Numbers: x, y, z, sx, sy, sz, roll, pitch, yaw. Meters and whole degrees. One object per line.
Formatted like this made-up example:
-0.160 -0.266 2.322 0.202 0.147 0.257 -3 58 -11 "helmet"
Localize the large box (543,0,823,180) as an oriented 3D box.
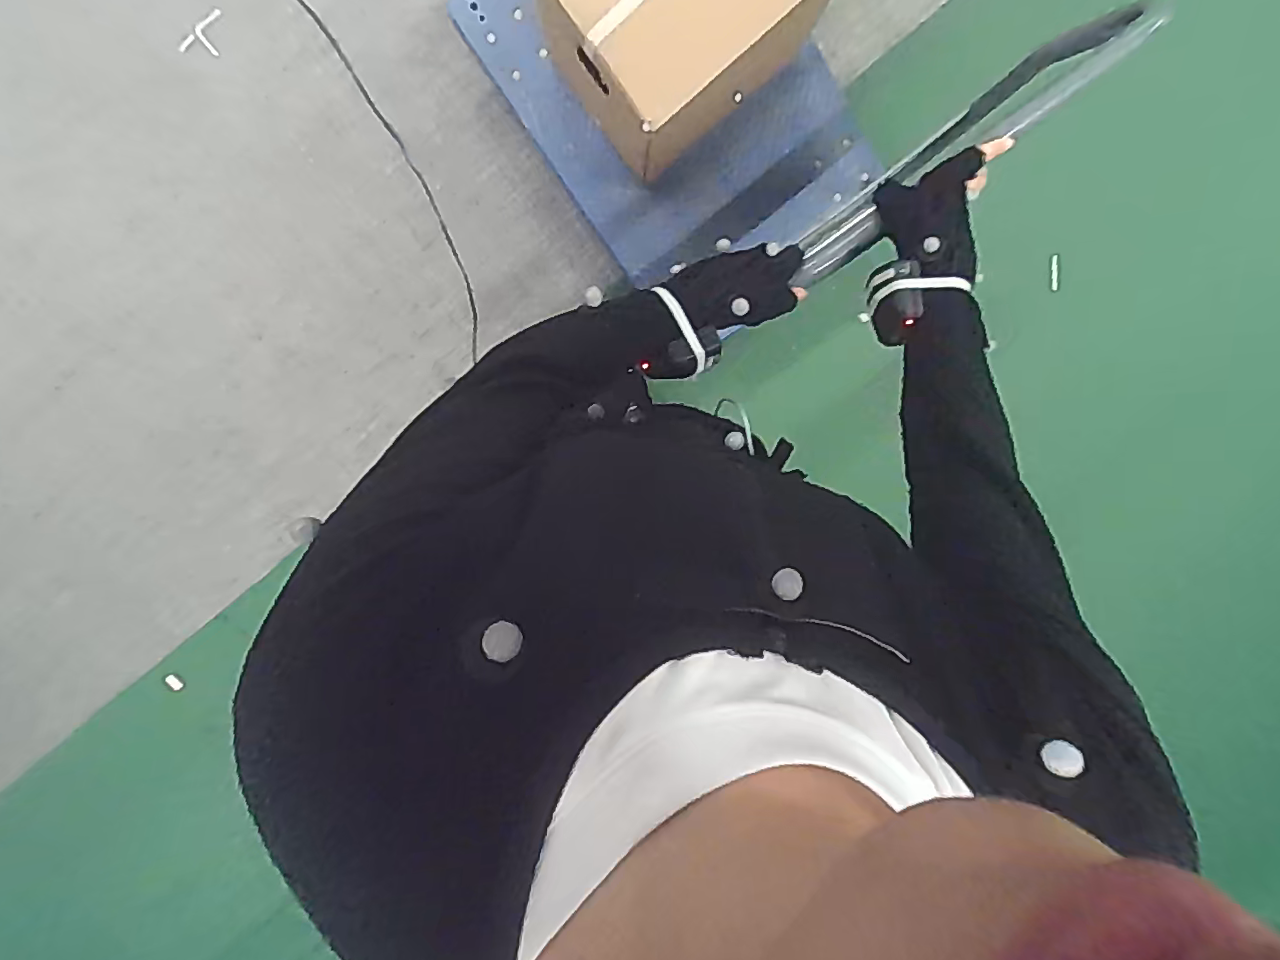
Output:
0.080 -0.835 0.956 0.408 0.320 0.320 -38 101 8 "large box"
